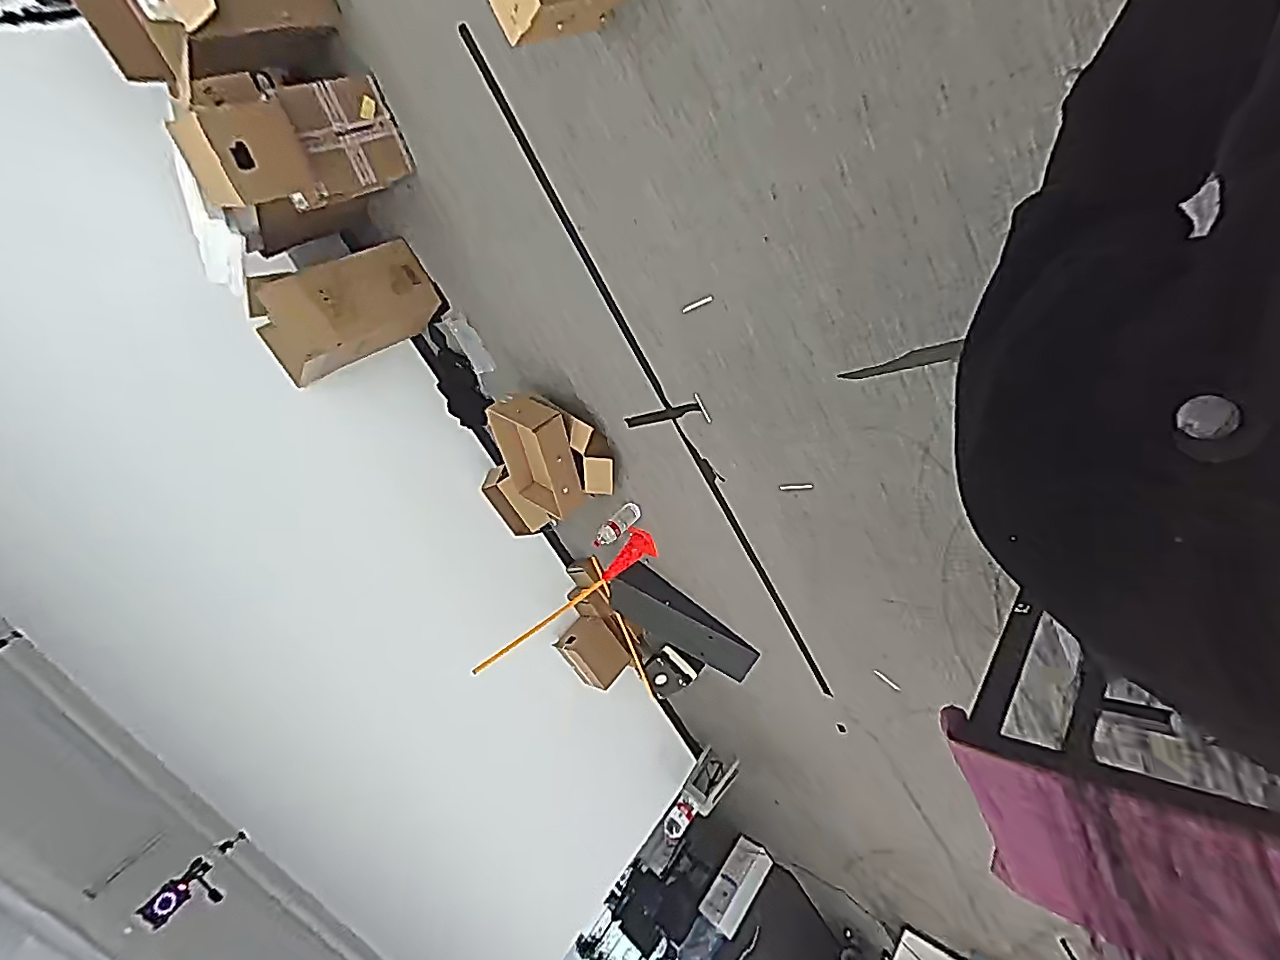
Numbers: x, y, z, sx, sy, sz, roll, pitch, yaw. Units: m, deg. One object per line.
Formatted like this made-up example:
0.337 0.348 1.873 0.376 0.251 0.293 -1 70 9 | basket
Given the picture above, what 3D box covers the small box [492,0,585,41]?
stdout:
-0.270 -1.262 1.363 0.168 0.176 0.179 1 126 52 | small box
